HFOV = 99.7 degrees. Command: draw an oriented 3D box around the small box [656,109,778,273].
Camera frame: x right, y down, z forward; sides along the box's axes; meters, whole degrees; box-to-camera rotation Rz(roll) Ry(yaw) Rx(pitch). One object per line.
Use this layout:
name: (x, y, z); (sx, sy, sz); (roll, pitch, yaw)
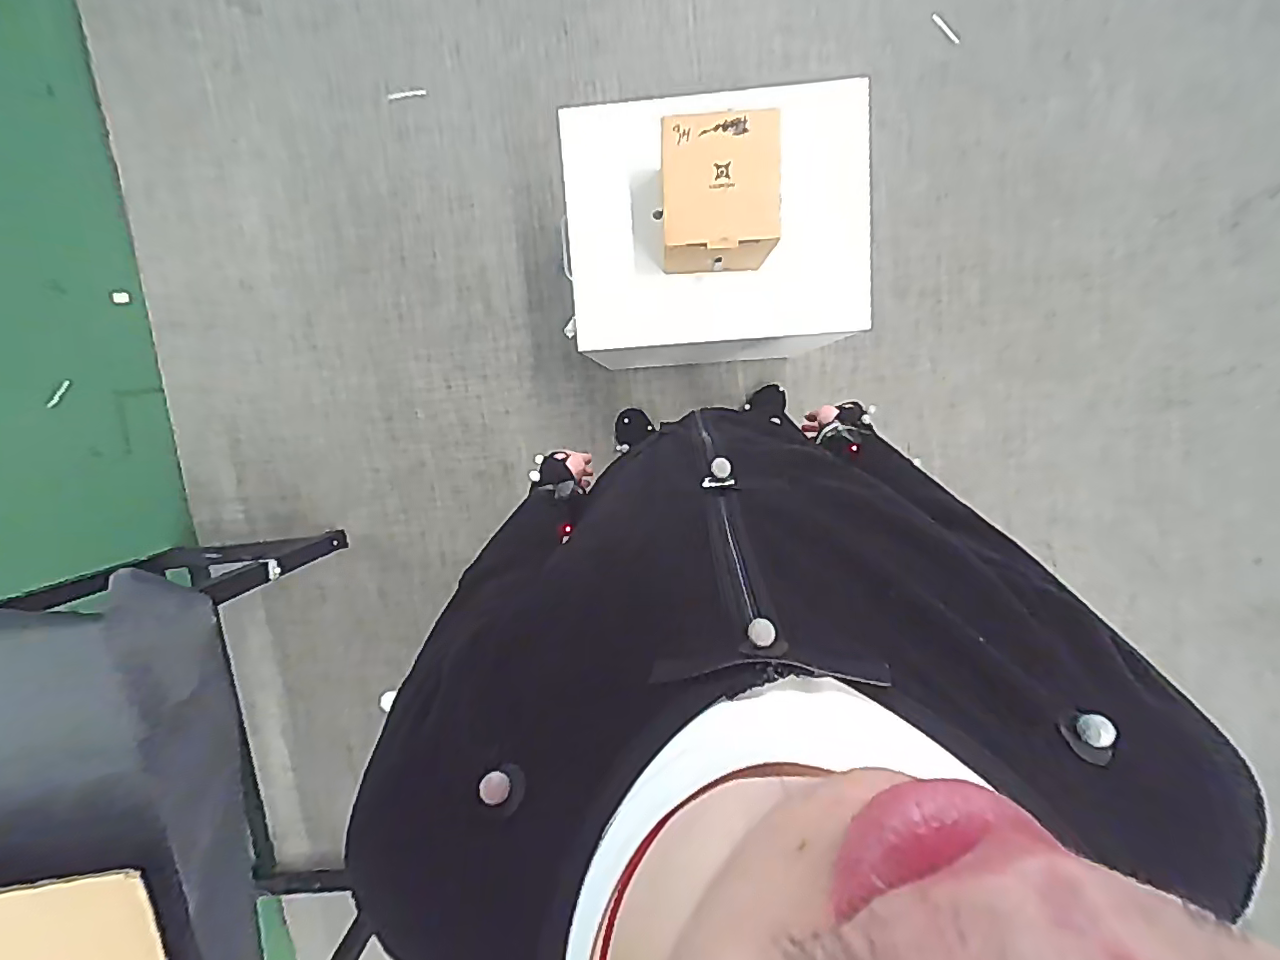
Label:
small box: (0.115, -0.429, 0.834); (0.168, 0.176, 0.179); (-4, 97, 4)
